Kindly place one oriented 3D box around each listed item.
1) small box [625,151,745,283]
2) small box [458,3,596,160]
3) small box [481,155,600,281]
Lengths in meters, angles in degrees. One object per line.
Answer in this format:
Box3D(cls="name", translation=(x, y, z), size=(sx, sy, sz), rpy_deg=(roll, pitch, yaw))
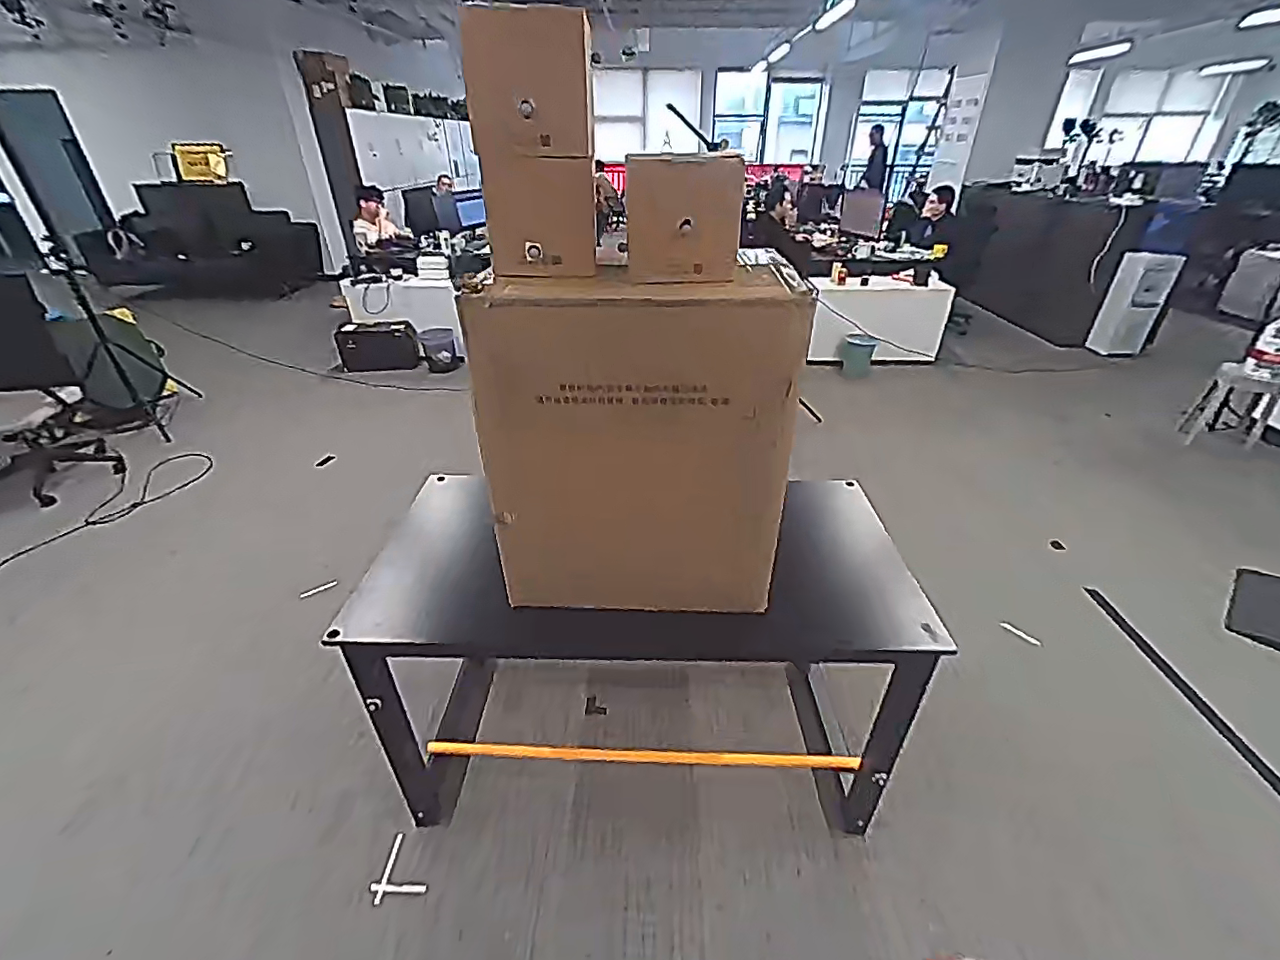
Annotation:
Box3D(cls="small box", translation=(0.064, -0.415, 0.854), size=(0.168, 0.176, 0.179), rpy_deg=(-2, 34, -2))
Box3D(cls="small box", translation=(-0.153, -0.573, 0.795), size=(0.168, 0.176, 0.179), rpy_deg=(-1, 33, -1))
Box3D(cls="small box", translation=(-0.152, -0.434, 0.886), size=(0.168, 0.176, 0.179), rpy_deg=(-2, 34, -3))
